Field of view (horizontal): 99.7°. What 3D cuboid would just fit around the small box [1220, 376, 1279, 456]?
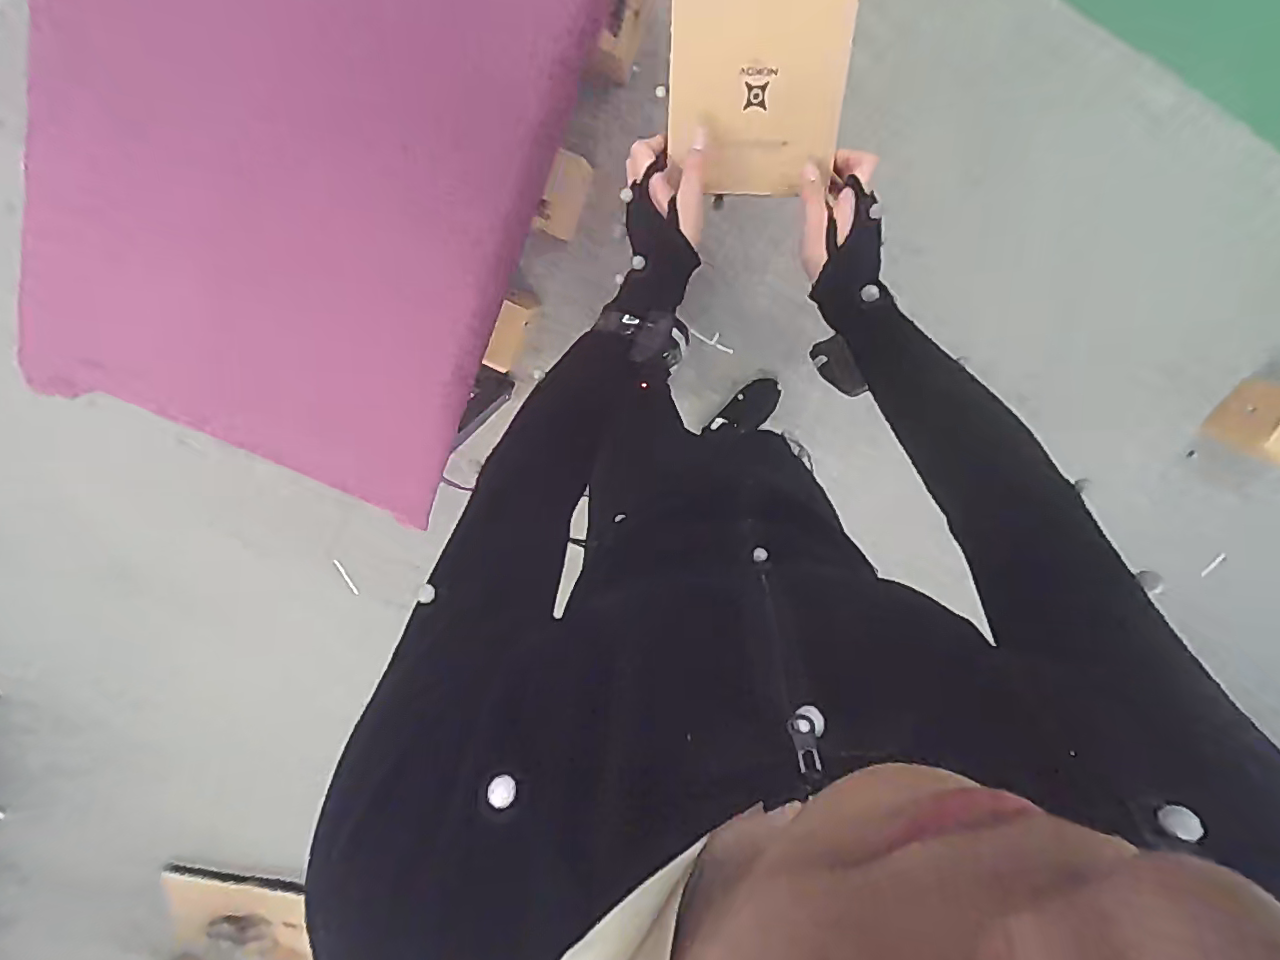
[{"bbox_3d":[1.712,-0.158,1.414,0.179,0.176,0.168,27,110,-8],"label":"small box"}]

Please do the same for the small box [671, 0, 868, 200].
[{"bbox_3d":[0.119,-0.398,0.571,0.168,0.176,0.179,4,118,3],"label":"small box"}]

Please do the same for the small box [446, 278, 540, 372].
[{"bbox_3d":[-0.373,-0.405,1.402,0.168,0.176,0.179,24,110,-7],"label":"small box"}]

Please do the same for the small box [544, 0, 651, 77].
[{"bbox_3d":[-0.083,-1.001,1.152,0.179,0.176,0.168,22,110,-5],"label":"small box"}]
